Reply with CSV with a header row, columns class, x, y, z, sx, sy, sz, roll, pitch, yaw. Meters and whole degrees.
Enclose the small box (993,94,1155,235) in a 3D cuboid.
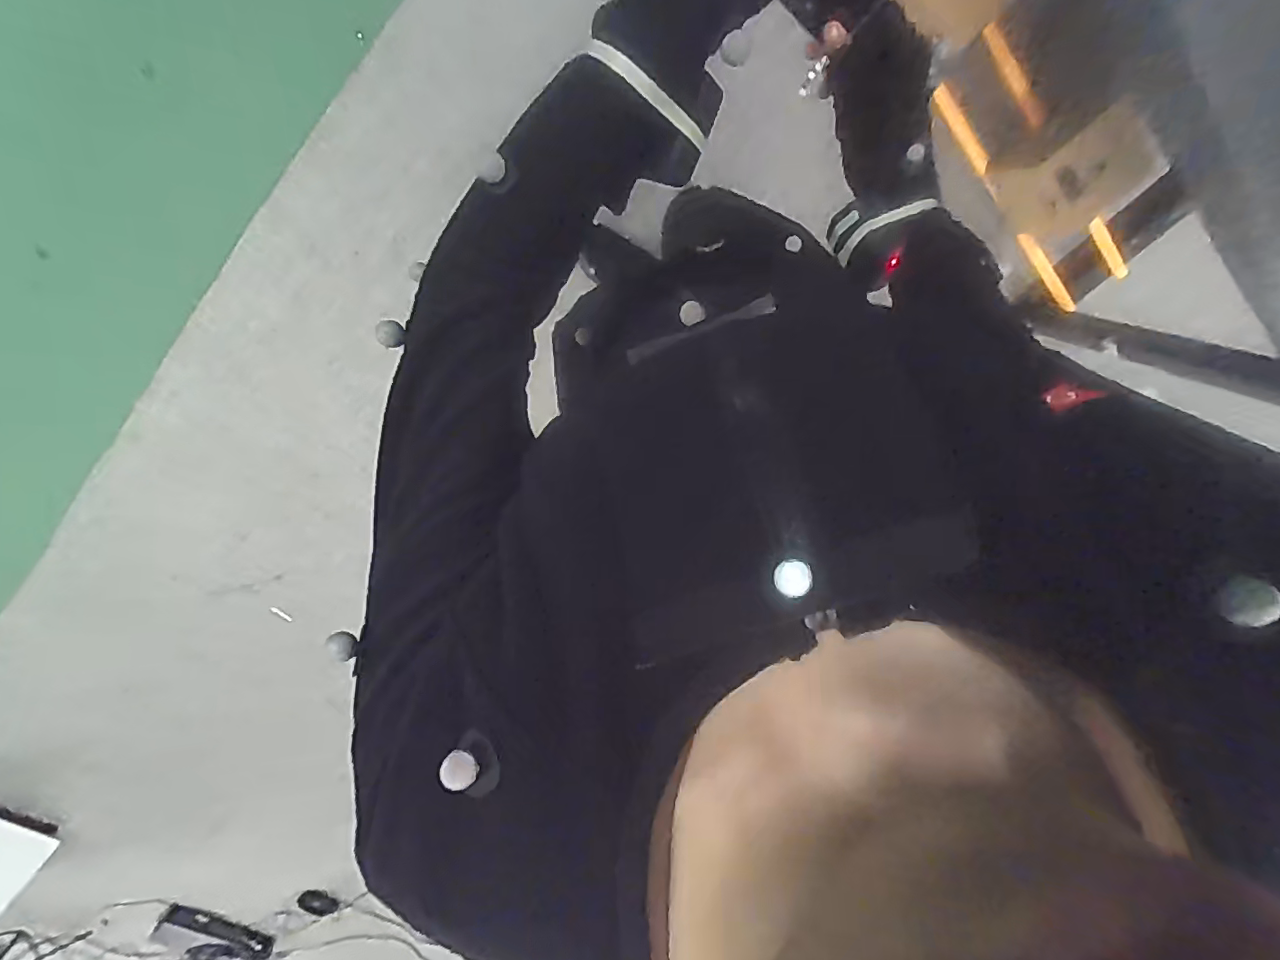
class,x,y,z,sx,sy,sz,roll,pitch,yaw
small box,0.855,-0.623,1.089,0.179,0.176,0.168,-39,113,16
